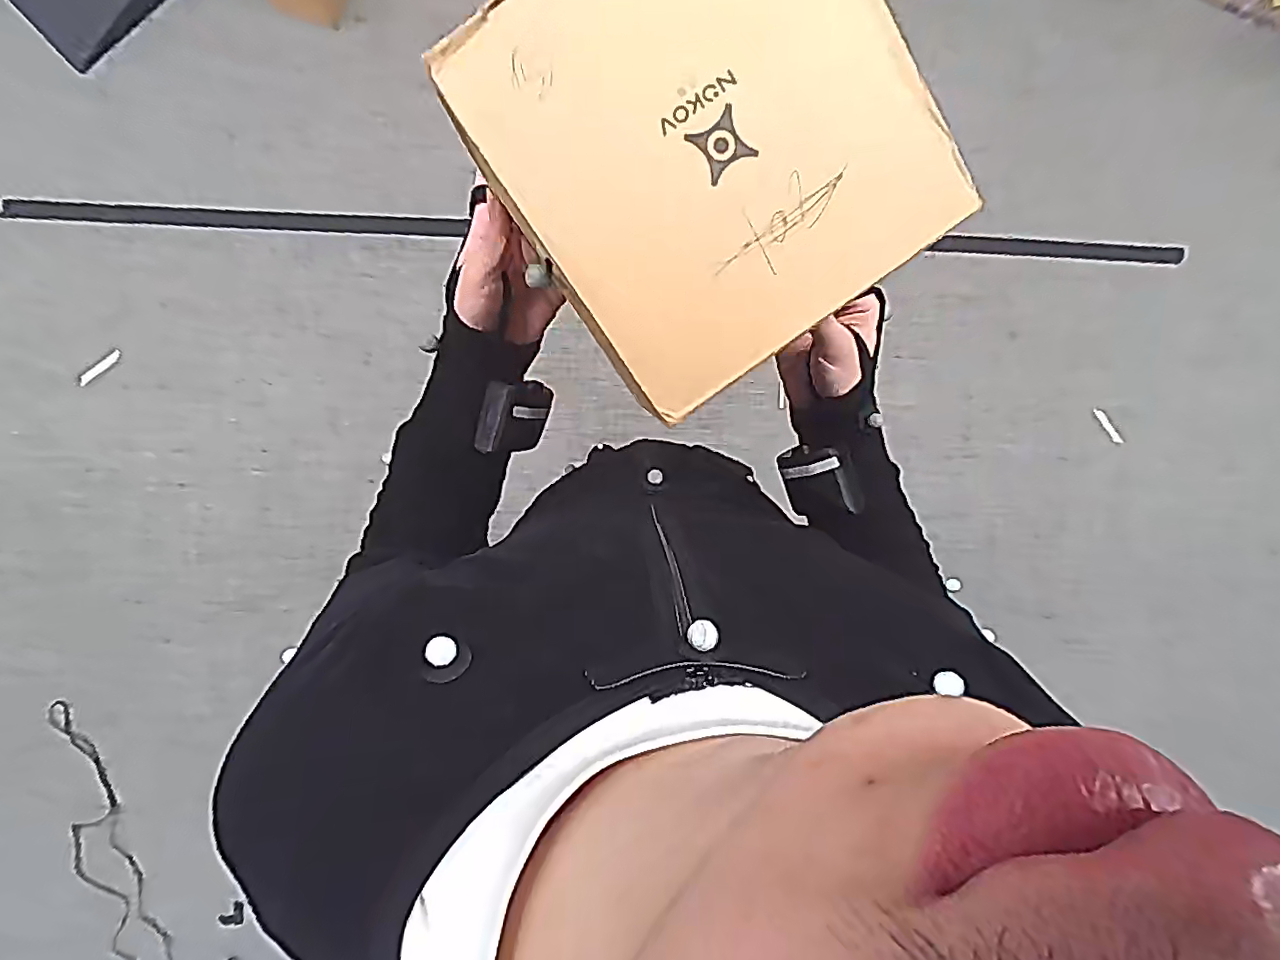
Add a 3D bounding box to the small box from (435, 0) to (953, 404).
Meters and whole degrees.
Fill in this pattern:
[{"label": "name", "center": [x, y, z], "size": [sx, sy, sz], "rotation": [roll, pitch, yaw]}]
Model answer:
[{"label": "small box", "center": [0.023, -0.163, 0.311], "size": [0.168, 0.176, 0.179], "rotation": [-36, 102, 4]}]
